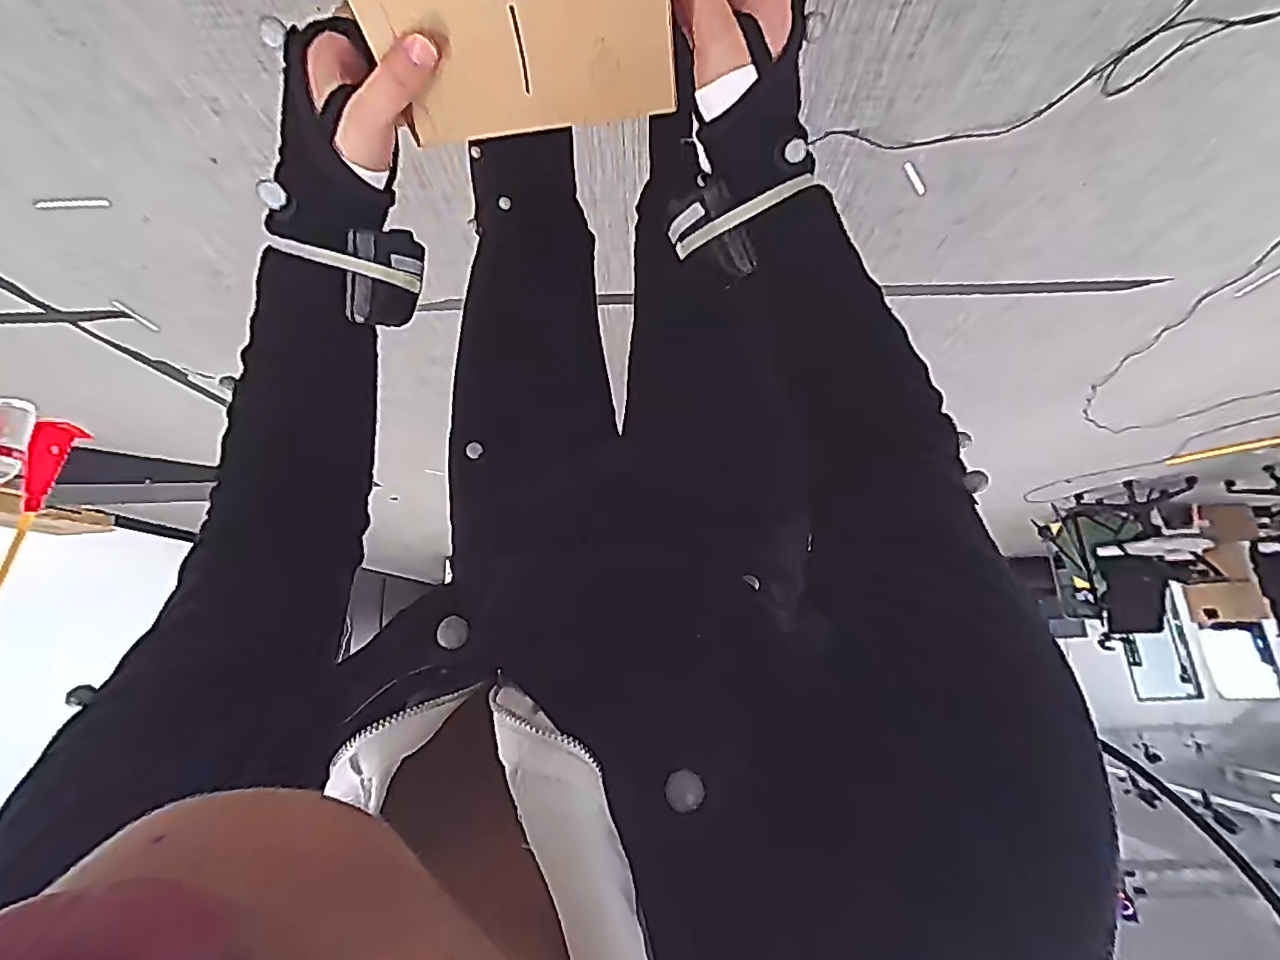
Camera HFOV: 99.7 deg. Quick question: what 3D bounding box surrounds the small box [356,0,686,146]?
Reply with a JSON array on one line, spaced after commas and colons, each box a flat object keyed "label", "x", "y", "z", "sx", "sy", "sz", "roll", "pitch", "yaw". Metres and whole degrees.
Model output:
[{"label": "small box", "x": -0.064, "y": -0.322, "z": 0.292, "sx": 0.168, "sy": 0.176, "sz": 0.179, "roll": -3, "pitch": 150, "yaw": 6}]
